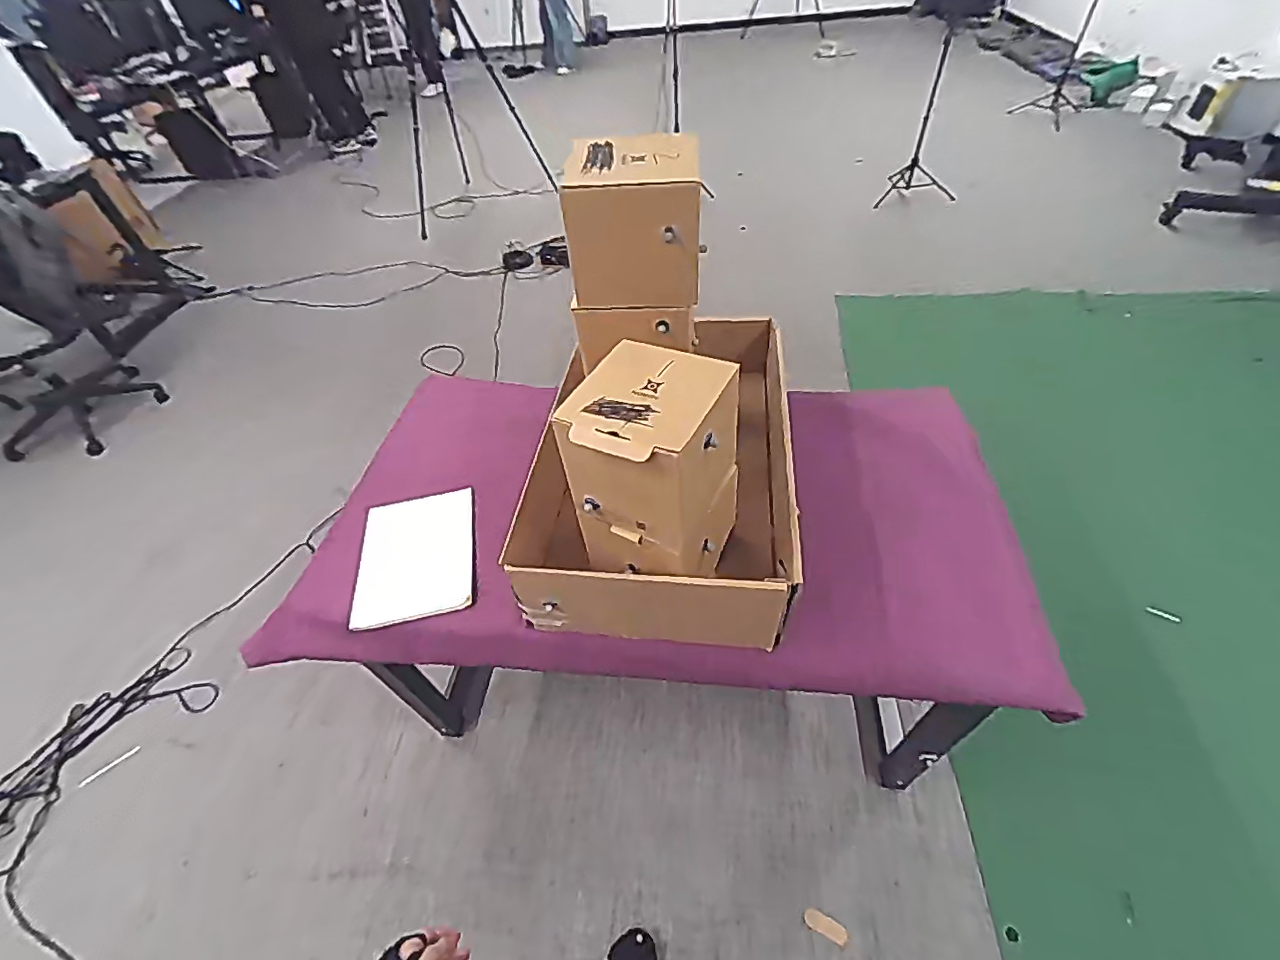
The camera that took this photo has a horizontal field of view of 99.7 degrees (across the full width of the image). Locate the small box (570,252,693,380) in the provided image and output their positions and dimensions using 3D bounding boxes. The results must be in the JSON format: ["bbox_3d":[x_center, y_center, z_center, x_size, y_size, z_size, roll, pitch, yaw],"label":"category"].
[{"bbox_3d":[-0.003,-0.252,0.888,0.179,0.176,0.168,1,50,6],"label":"small box"}]

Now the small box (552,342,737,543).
[{"bbox_3d":[0.017,-0.048,0.693,0.168,0.176,0.179,18,51,23],"label":"small box"}]
